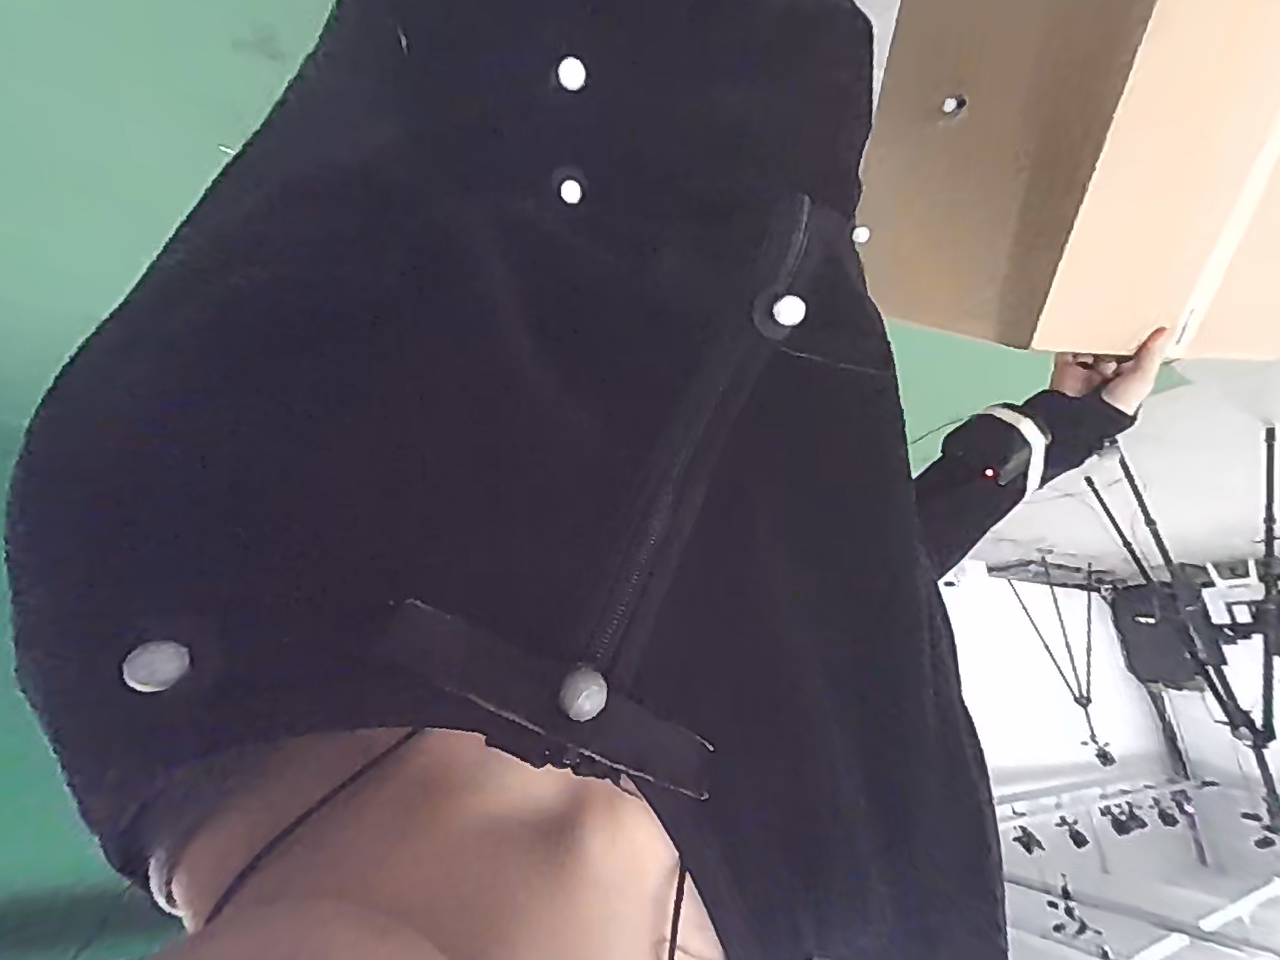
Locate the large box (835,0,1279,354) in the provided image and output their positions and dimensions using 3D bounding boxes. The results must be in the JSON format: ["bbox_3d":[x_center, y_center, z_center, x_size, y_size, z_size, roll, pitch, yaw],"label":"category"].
[{"bbox_3d":[0.451,-0.362,0.558,0.320,0.408,0.320,-1,-155,-14],"label":"large box"}]
